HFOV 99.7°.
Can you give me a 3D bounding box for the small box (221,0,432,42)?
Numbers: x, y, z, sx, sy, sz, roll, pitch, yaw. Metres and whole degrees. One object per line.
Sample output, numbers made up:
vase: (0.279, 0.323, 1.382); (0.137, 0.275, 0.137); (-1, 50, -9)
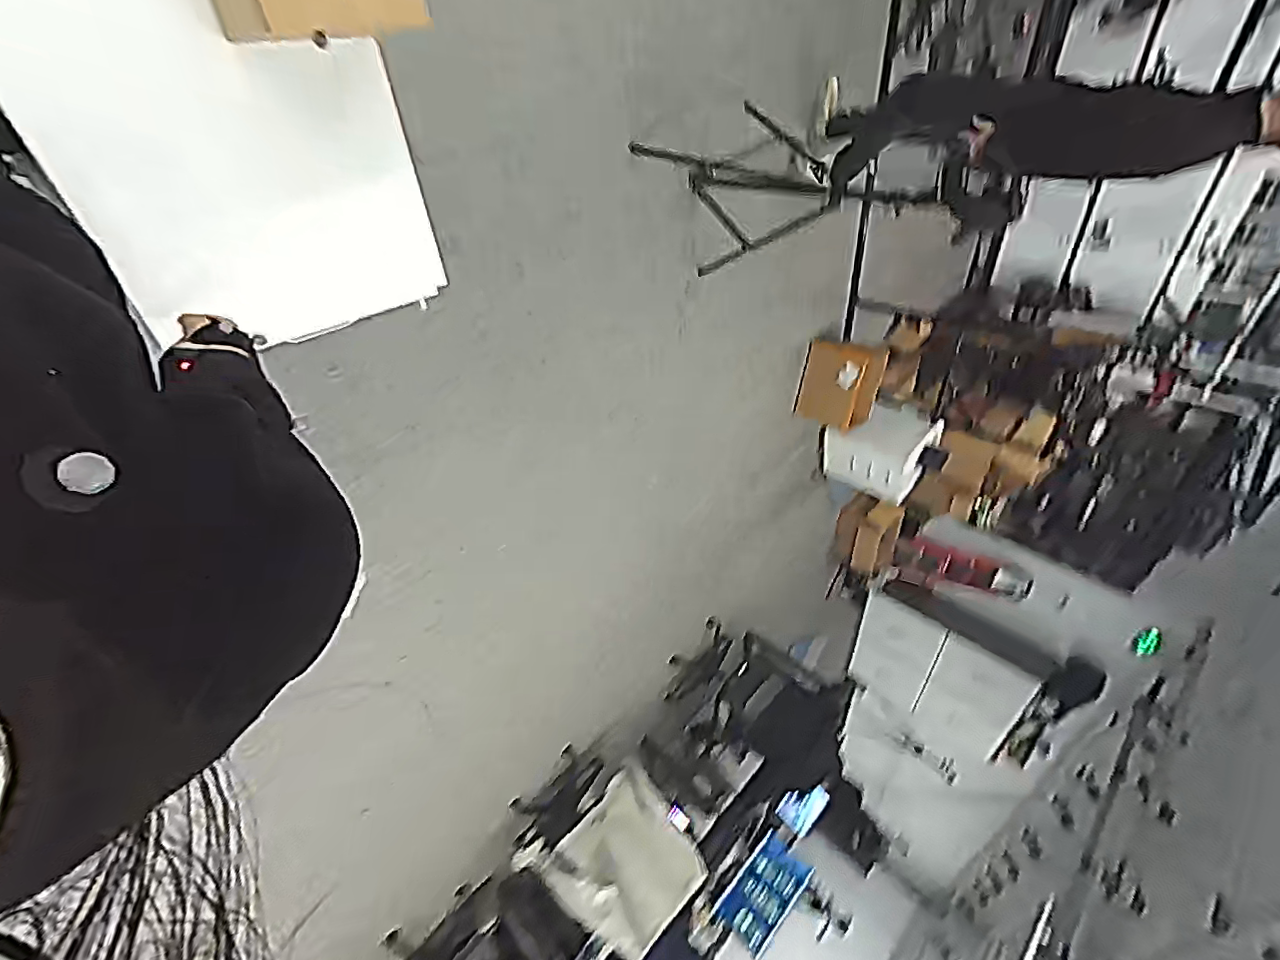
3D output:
small box: (-0.356, -0.573, 0.569); (0.179, 0.176, 0.168); (-31, 136, -30)
